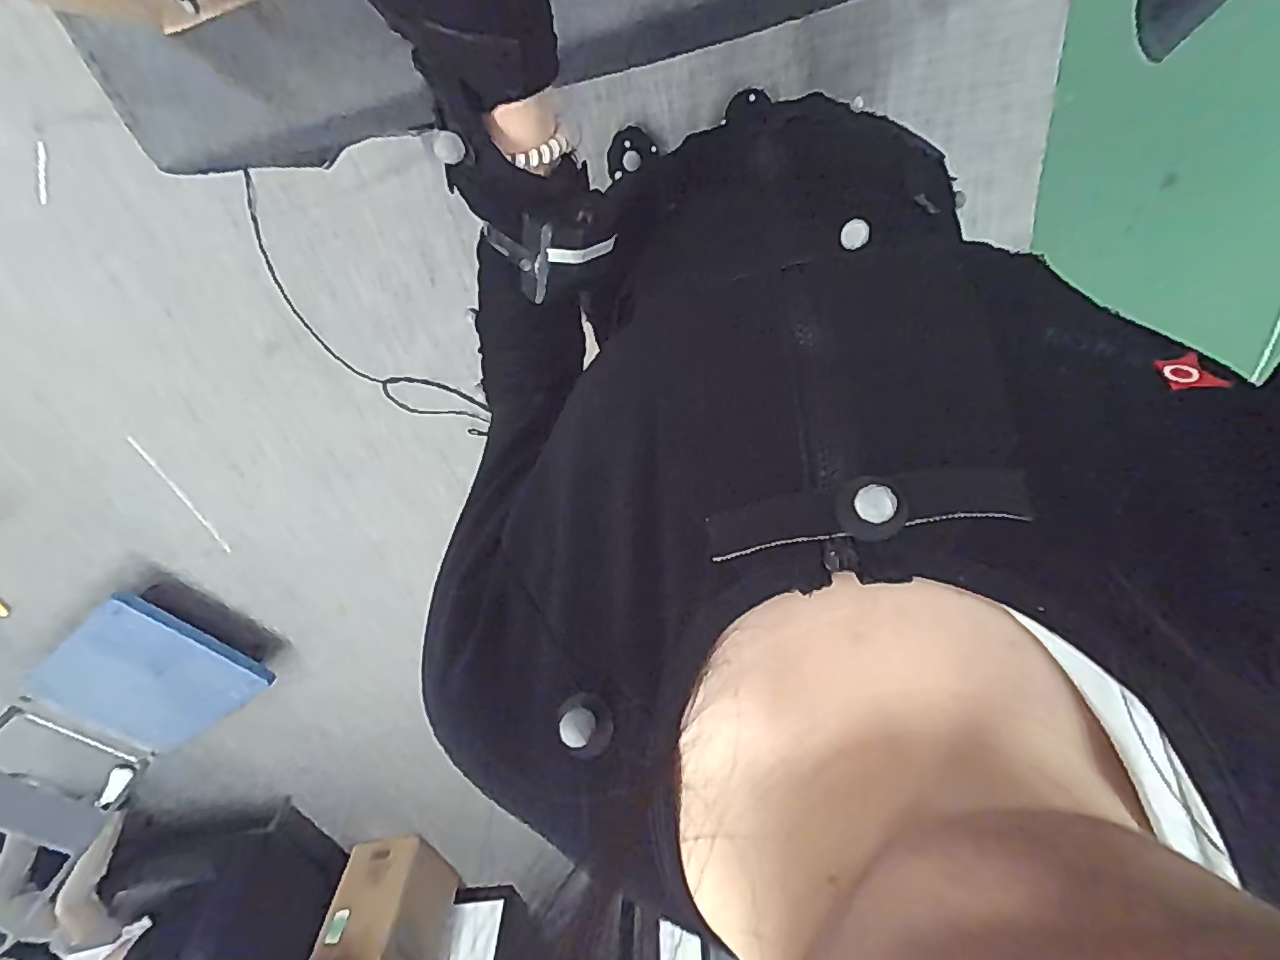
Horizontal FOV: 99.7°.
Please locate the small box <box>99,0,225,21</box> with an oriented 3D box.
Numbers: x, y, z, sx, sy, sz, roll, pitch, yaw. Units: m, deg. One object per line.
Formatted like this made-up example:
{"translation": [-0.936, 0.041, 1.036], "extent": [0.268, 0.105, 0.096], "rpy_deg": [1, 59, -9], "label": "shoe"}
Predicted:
{"translation": [-0.402, -0.479, 0.393], "extent": [0.168, 0.176, 0.179], "rpy_deg": [-13, 123, 8], "label": "small box"}
